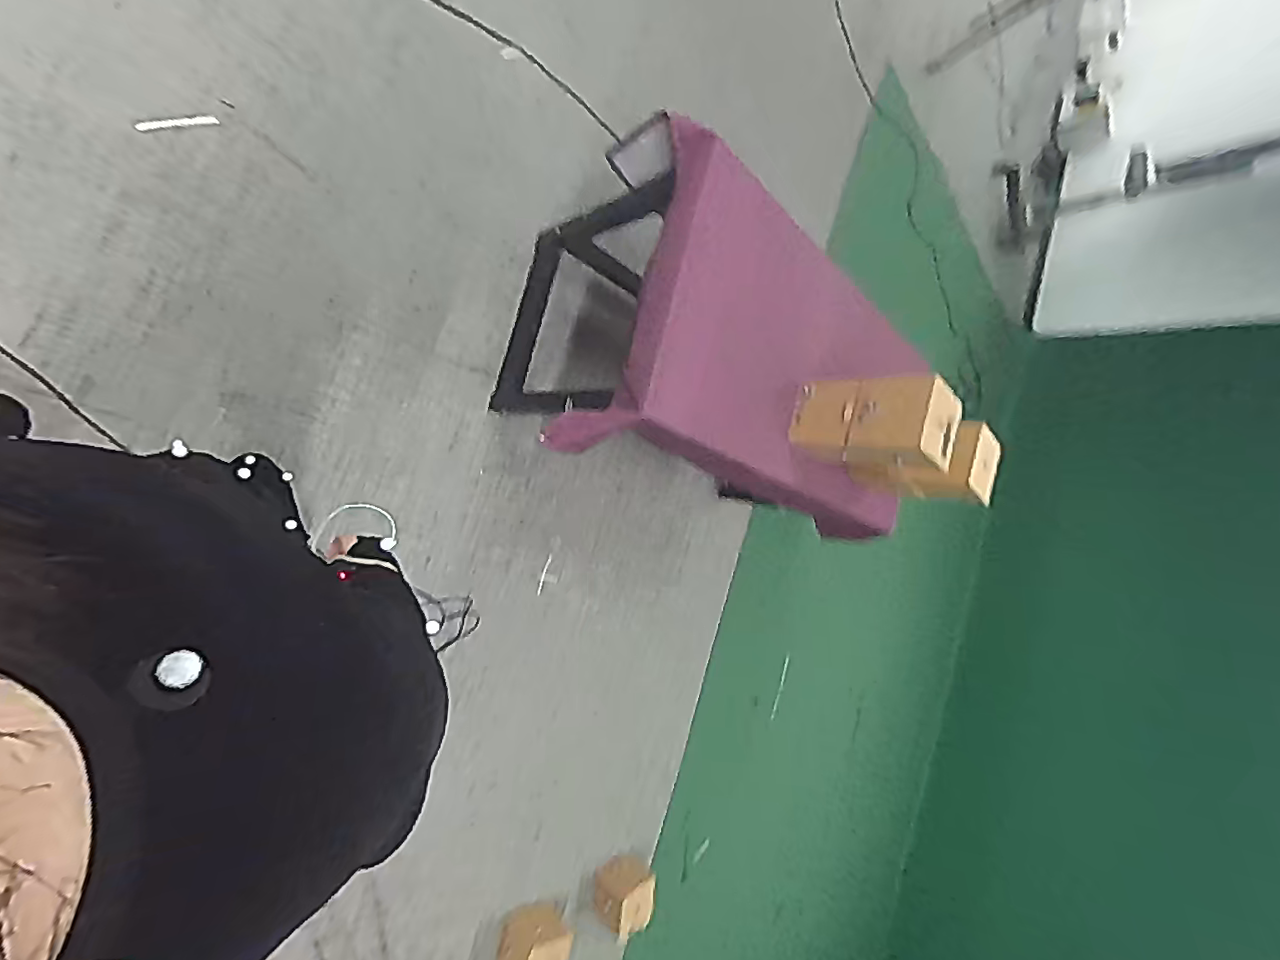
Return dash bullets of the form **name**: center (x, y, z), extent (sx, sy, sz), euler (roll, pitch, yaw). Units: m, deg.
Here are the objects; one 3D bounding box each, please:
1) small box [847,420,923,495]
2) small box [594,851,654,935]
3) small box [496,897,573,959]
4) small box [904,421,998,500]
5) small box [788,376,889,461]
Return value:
- **small box**: center (0.741, -0.068, 1.603), extent (0.179, 0.176, 0.168), euler (28, 79, -40)
- **small box**: center (-0.066, 1.594, 2.106), extent (0.168, 0.176, 0.179), euler (0, 96, -42)
- **small box**: center (-0.362, 1.573, 1.840), extent (0.179, 0.176, 0.168), euler (21, 83, -41)
- **small box**: center (0.849, -0.056, 1.482), extent (0.179, 0.176, 0.168), euler (25, 80, -41)
- **small box**: center (0.503, -0.153, 1.379), extent (0.179, 0.176, 0.168), euler (20, 83, -42)
